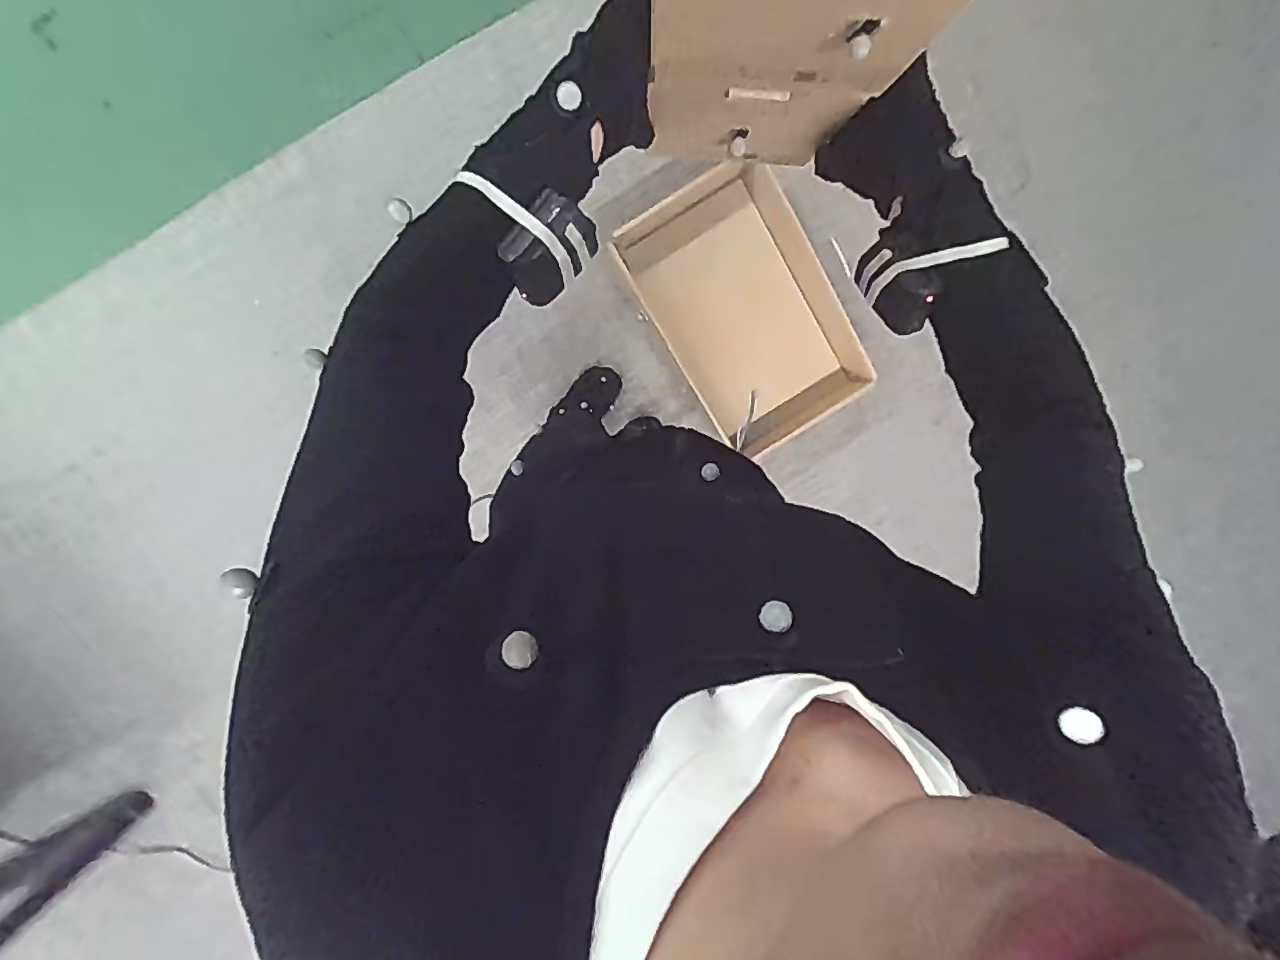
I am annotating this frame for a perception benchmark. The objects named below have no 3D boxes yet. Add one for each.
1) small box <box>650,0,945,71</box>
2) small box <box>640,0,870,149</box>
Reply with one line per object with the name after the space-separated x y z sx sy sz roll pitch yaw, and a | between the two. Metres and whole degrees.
0.090 -0.336 0.266 0.168 0.176 0.179 2 106 0 | small box
0.085 -0.387 0.440 0.168 0.176 0.179 0 106 2 | small box
